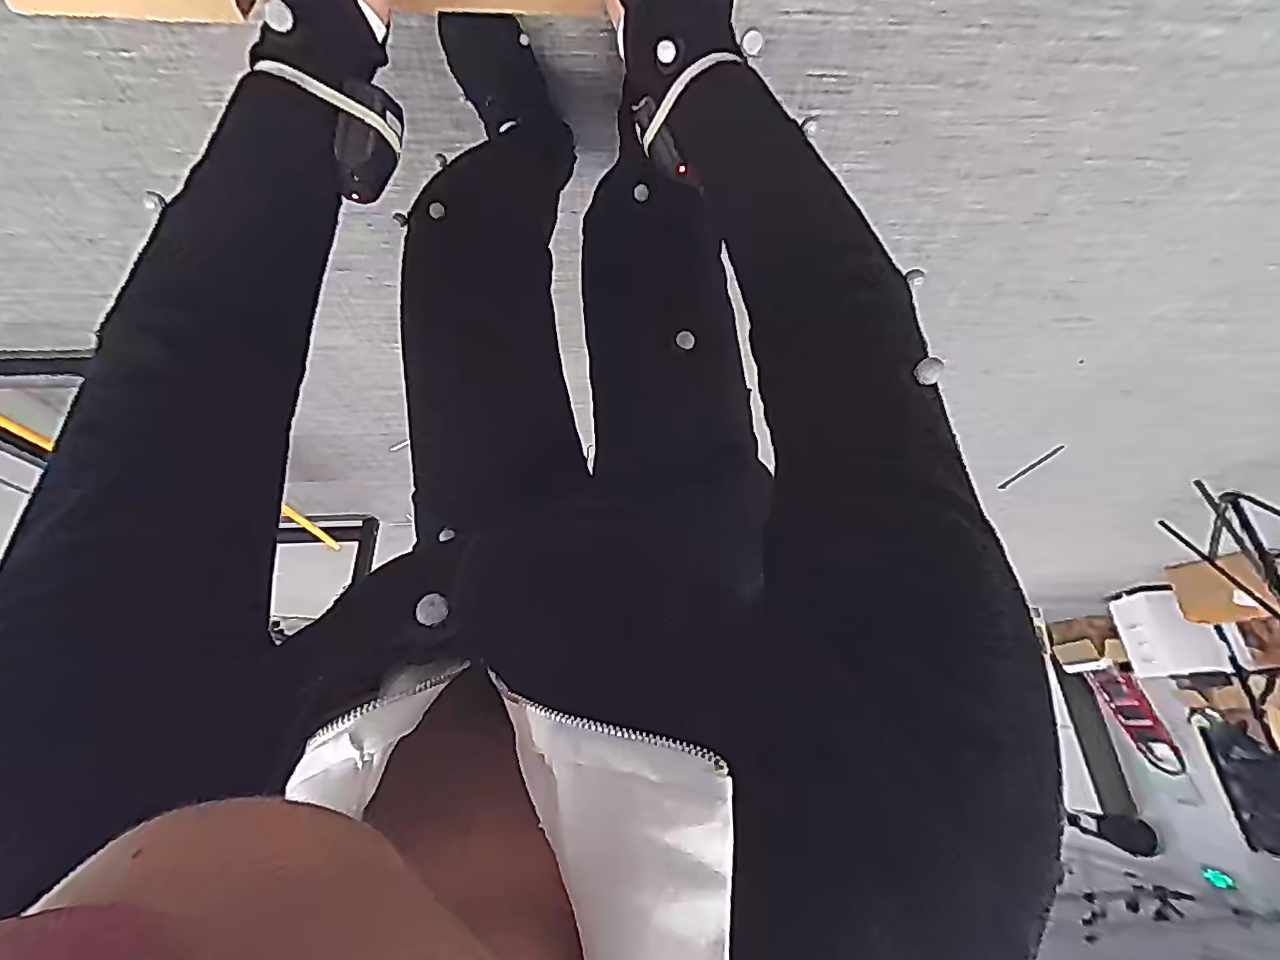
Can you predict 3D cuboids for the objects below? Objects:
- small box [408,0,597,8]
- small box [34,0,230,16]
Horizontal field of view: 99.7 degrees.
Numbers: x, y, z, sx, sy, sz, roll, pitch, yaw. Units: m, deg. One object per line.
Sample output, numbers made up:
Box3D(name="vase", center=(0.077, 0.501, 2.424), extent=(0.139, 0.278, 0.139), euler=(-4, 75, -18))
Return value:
Box3D(name="small box", center=(-0.115, -0.485, 0.382), extent=(0.168, 0.176, 0.179), euler=(-1, 157, -4))
Box3D(name="small box", center=(-0.398, -0.472, 0.377), extent=(0.179, 0.176, 0.168), euler=(0, 155, -5))
